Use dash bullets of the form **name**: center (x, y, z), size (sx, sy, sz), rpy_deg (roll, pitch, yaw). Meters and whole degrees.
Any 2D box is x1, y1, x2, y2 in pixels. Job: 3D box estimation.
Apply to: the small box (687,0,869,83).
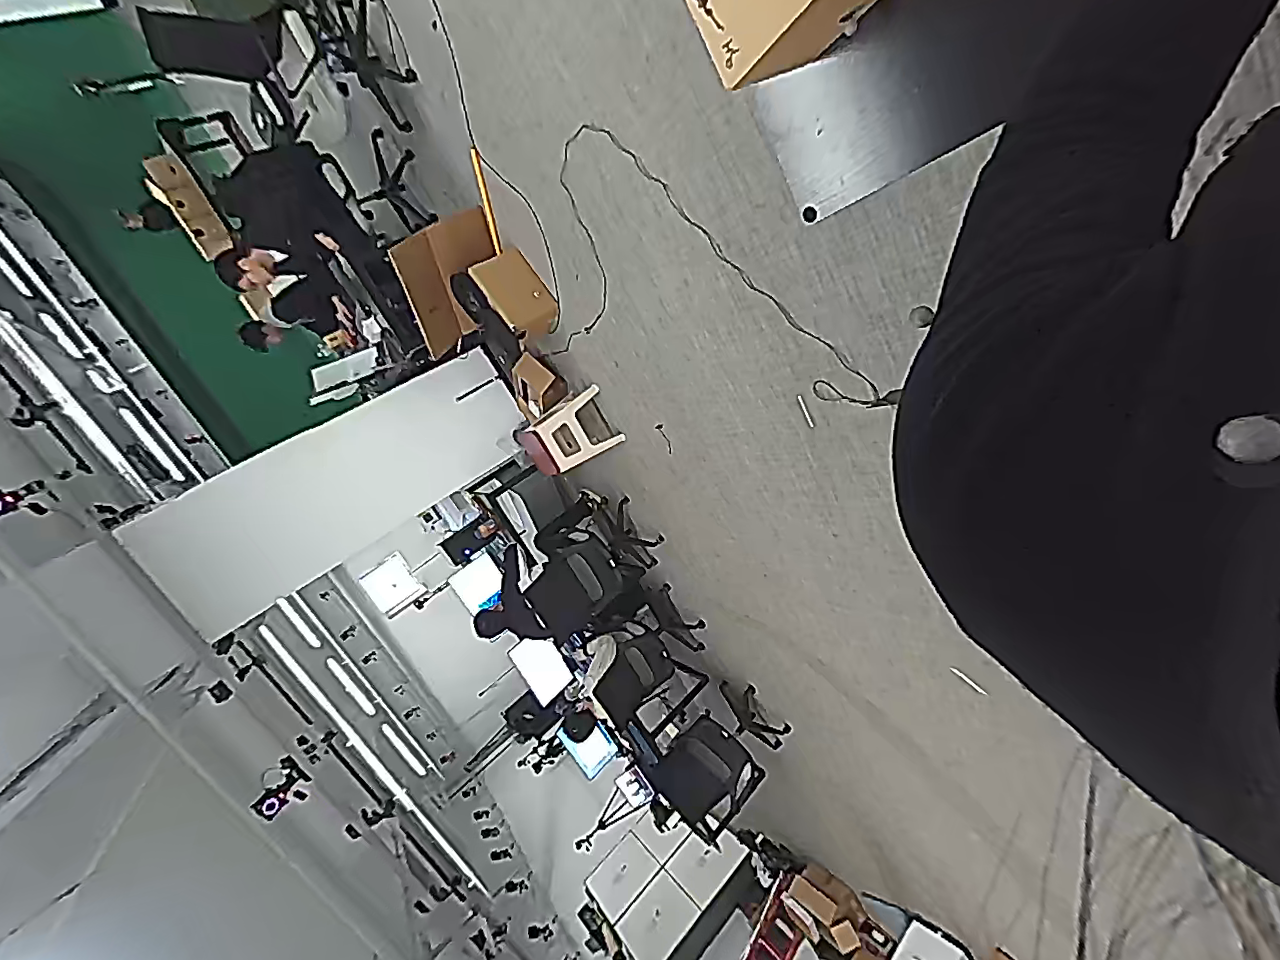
- **small box**: center (0.161, -0.577, 0.575), size (0.179, 0.176, 0.168), rpy_deg (-6, 117, 59)
